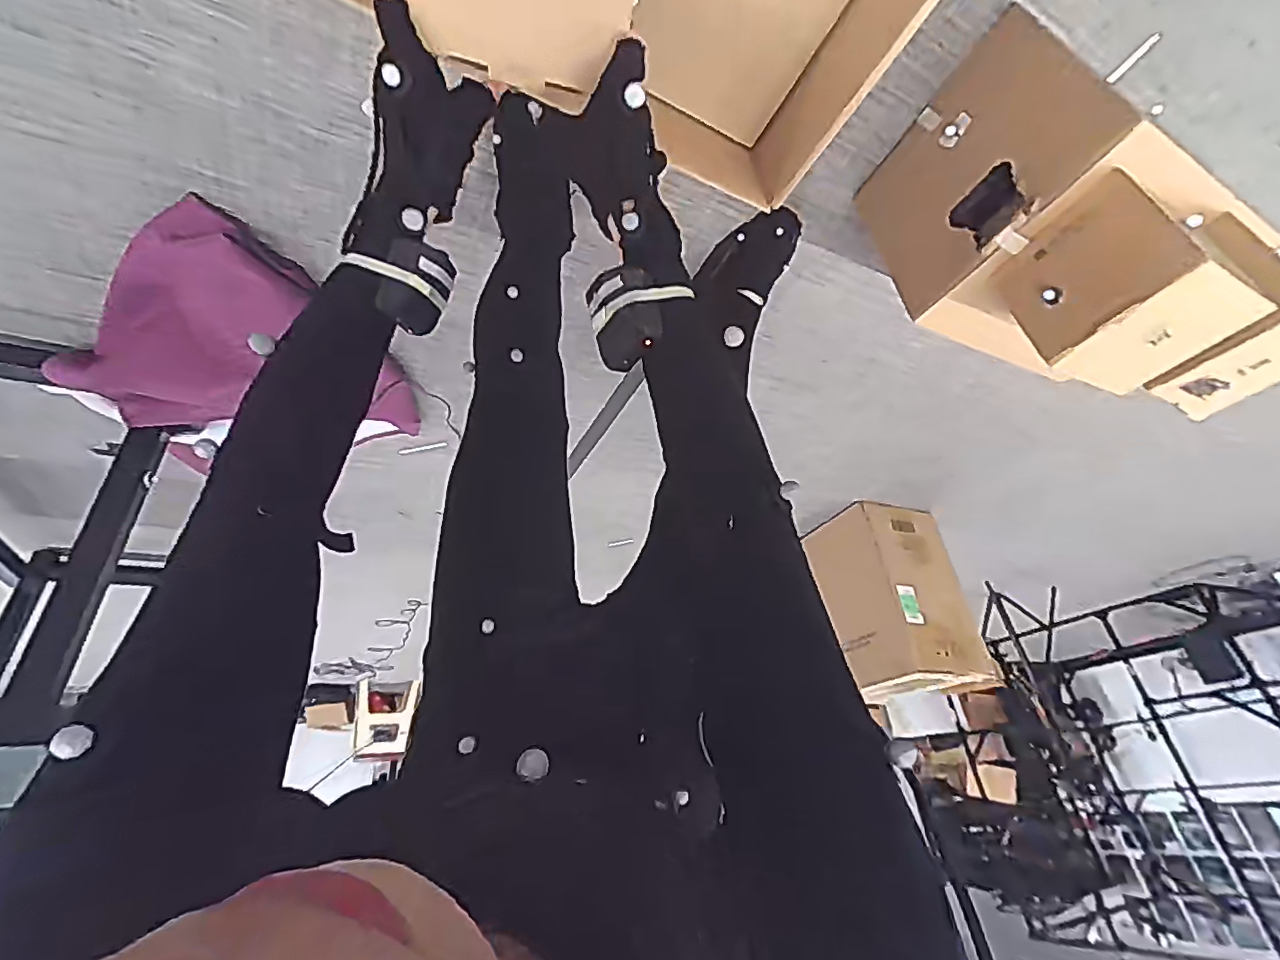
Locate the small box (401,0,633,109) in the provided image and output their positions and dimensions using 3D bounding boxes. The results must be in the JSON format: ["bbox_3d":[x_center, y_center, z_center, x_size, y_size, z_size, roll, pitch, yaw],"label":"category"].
[{"bbox_3d":[-0.092,-0.429,0.430,0.168,0.176,0.179,4,129,-17],"label":"small box"}]

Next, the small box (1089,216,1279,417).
[{"bbox_3d":[0.781,-0.221,0.754,0.168,0.176,0.179,13,142,-28],"label":"small box"}]

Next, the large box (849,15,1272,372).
[{"bbox_3d":[0.626,-0.423,0.863,0.408,0.320,0.320,8,146,-25],"label":"large box"}]
